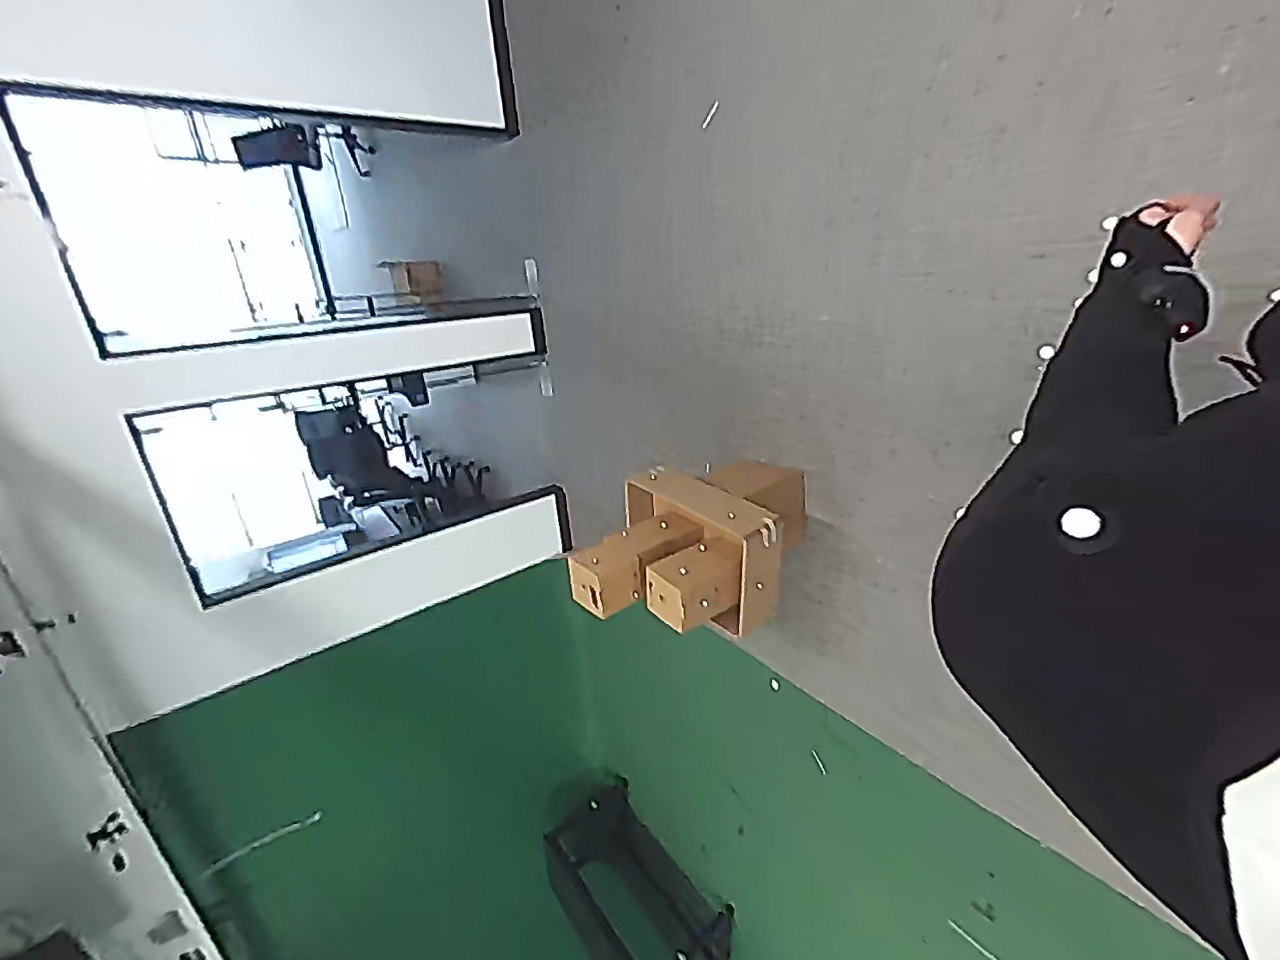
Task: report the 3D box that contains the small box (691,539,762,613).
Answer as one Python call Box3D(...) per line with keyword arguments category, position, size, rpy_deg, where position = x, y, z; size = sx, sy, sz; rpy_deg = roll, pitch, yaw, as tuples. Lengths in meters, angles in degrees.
Box3D(category="small box", position=(0.290, 0.319, 1.843), size=(0.179, 0.176, 0.168), rpy_deg=(28, 128, 48))

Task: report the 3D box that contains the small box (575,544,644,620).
Box3D(category="small box", position=(-0.096, 0.335, 1.824), size=(0.179, 0.176, 0.168), rpy_deg=(20, 122, 48))

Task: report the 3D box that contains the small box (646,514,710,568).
Box3D(category="small box", position=(0.141, 0.240, 2.032), size=(0.179, 0.176, 0.168), rpy_deg=(22, 123, 46))

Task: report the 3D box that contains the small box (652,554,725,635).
Box3D(category="small box", position=(0.160, 0.362, 1.755), size=(0.179, 0.176, 0.168), rpy_deg=(27, 126, 47))
